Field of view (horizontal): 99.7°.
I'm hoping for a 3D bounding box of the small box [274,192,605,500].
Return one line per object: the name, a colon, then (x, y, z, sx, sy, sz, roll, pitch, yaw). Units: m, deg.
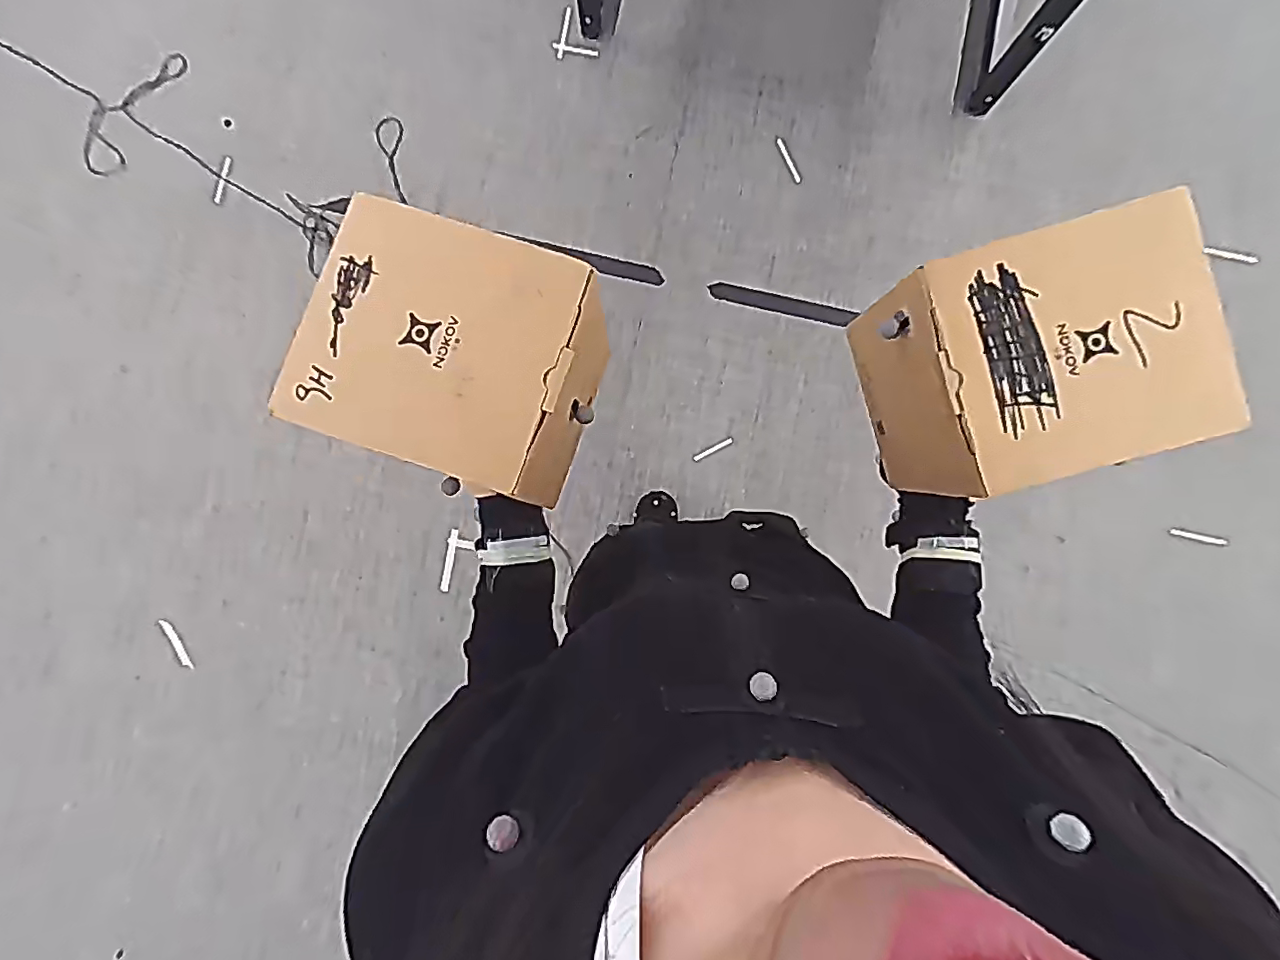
small box: (-0.134, -0.086, 0.439, 0.179, 0.176, 0.168, 18, 84, 1)
